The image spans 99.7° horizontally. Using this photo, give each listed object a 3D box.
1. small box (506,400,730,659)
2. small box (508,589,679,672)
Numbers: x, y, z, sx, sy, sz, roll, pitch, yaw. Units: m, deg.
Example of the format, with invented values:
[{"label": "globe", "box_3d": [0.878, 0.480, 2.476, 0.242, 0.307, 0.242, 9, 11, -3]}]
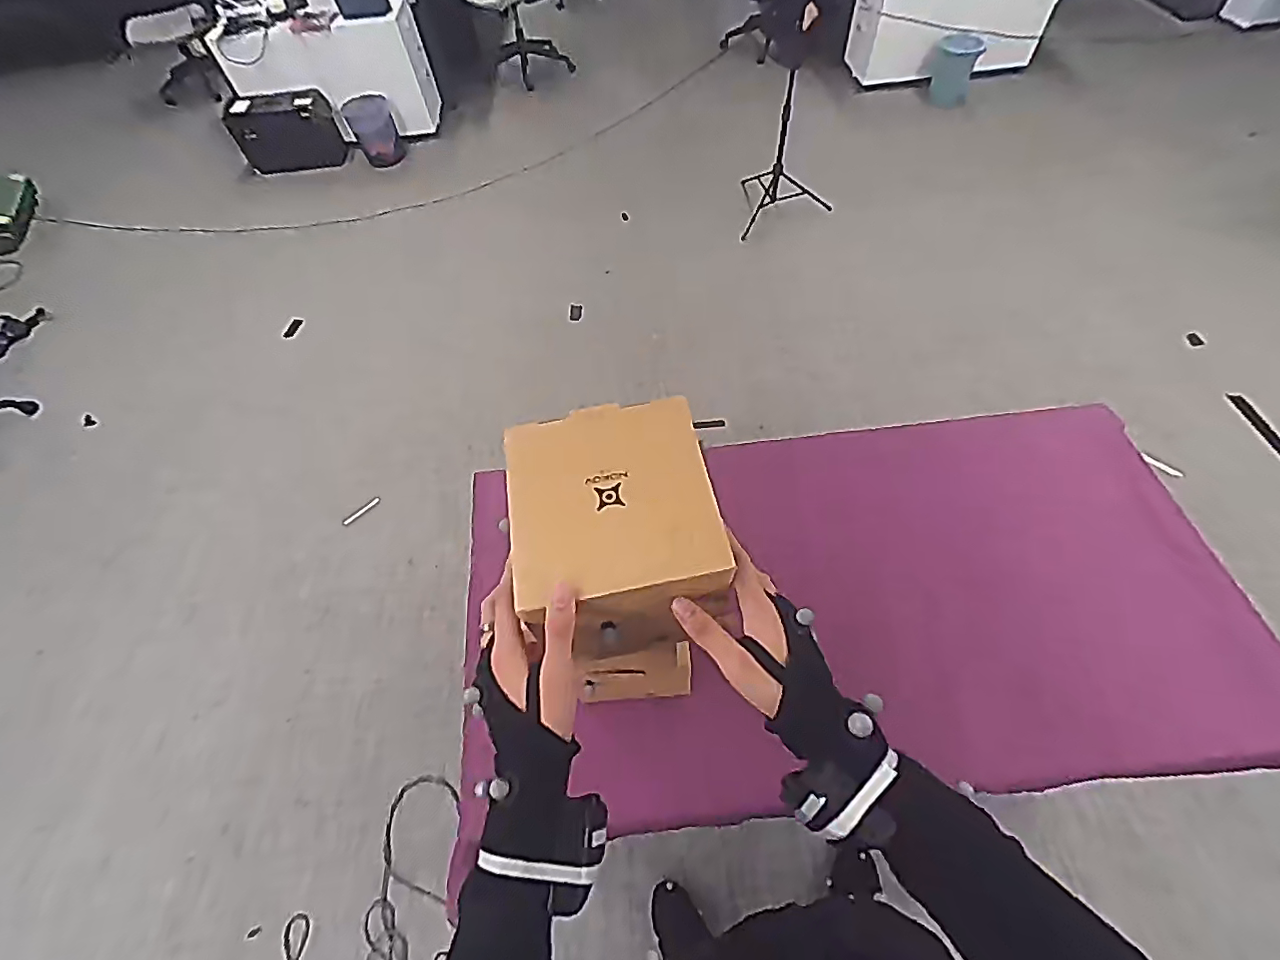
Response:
[{"label": "small box", "box_3d": [-0.019, 0.056, 0.509, 0.168, 0.176, 0.179, -11, 56, -3]}, {"label": "small box", "box_3d": [-0.041, 0.129, 0.657, 0.179, 0.176, 0.168, 0, 57, 4]}]
